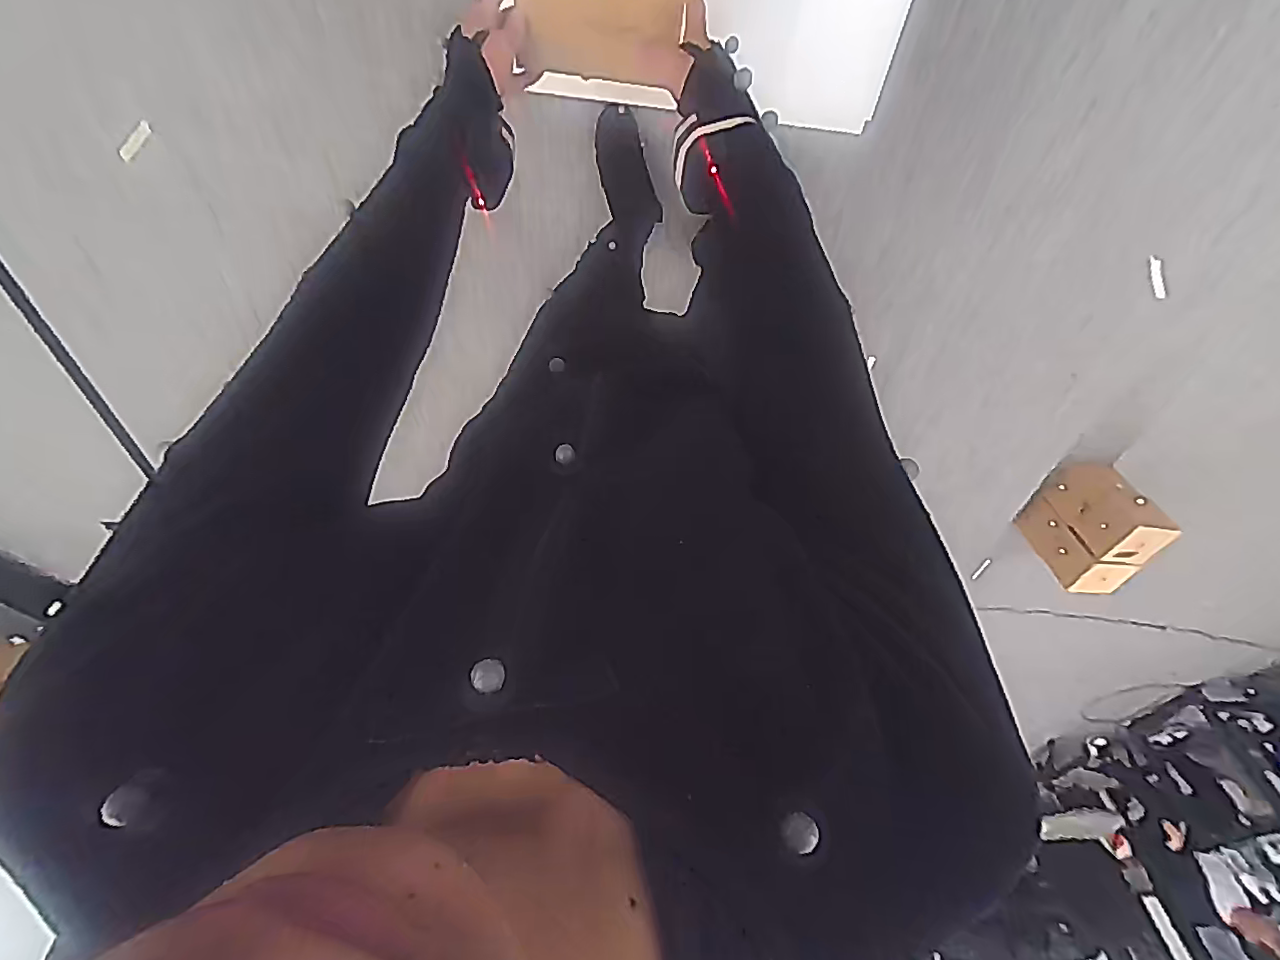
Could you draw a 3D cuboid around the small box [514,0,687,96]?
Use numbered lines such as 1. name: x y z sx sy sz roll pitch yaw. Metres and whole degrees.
1. small box: -0.037 -0.527 0.560 0.168 0.176 0.179 5 133 -5
